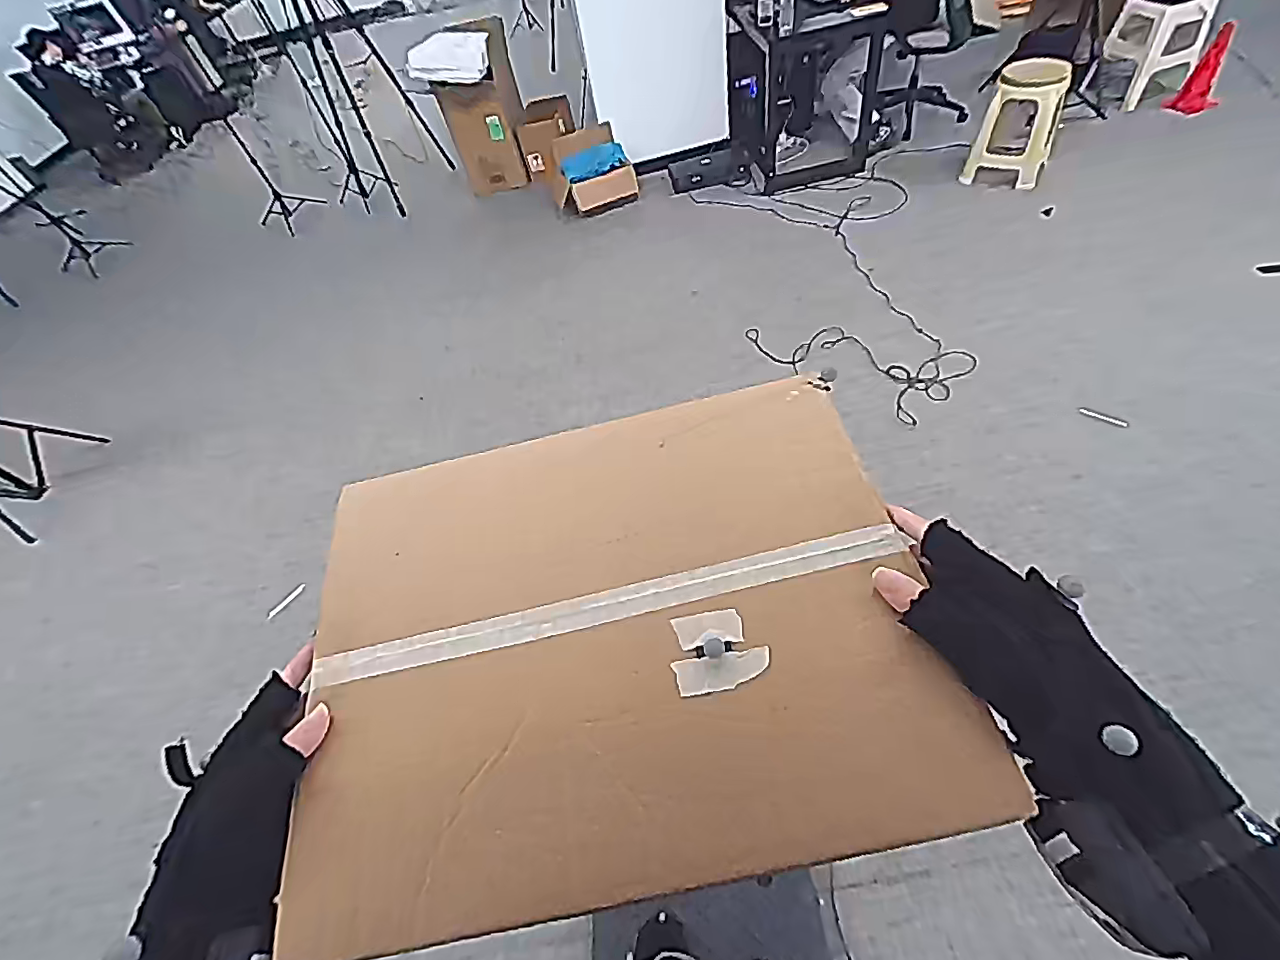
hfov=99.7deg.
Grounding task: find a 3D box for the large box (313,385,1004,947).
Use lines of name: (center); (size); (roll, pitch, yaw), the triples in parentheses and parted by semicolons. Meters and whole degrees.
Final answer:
large box: (0.001, 0.168, 0.502); (0.408, 0.320, 0.320); (-13, 57, 1)
